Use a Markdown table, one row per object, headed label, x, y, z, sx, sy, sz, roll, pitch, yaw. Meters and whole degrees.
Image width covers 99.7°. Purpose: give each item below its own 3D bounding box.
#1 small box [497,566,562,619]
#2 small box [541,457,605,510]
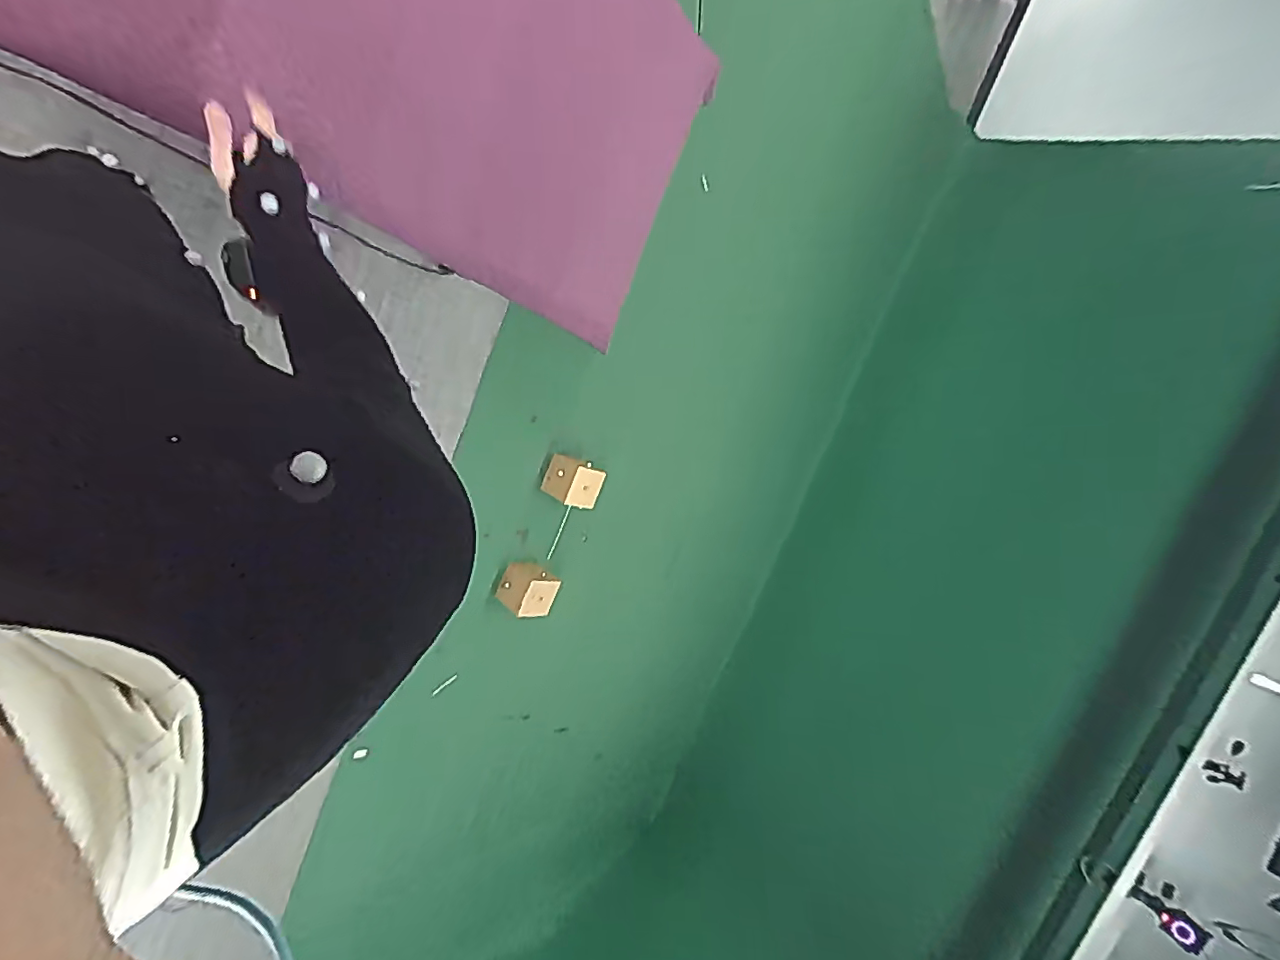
| label | x | y | z | sx | sy | sz | roll | pitch | yaw |
| --- | --- | --- | --- | --- | --- | --- | --- | --- | --- |
| small box | -0.473 | 0.479 | 2.311 | 0.179 | 0.176 | 0.168 | 16 | 98 | -53 |
| small box | -0.286 | 0.014 | 2.270 | 0.179 | 0.176 | 0.168 | 14 | 99 | -54 |
